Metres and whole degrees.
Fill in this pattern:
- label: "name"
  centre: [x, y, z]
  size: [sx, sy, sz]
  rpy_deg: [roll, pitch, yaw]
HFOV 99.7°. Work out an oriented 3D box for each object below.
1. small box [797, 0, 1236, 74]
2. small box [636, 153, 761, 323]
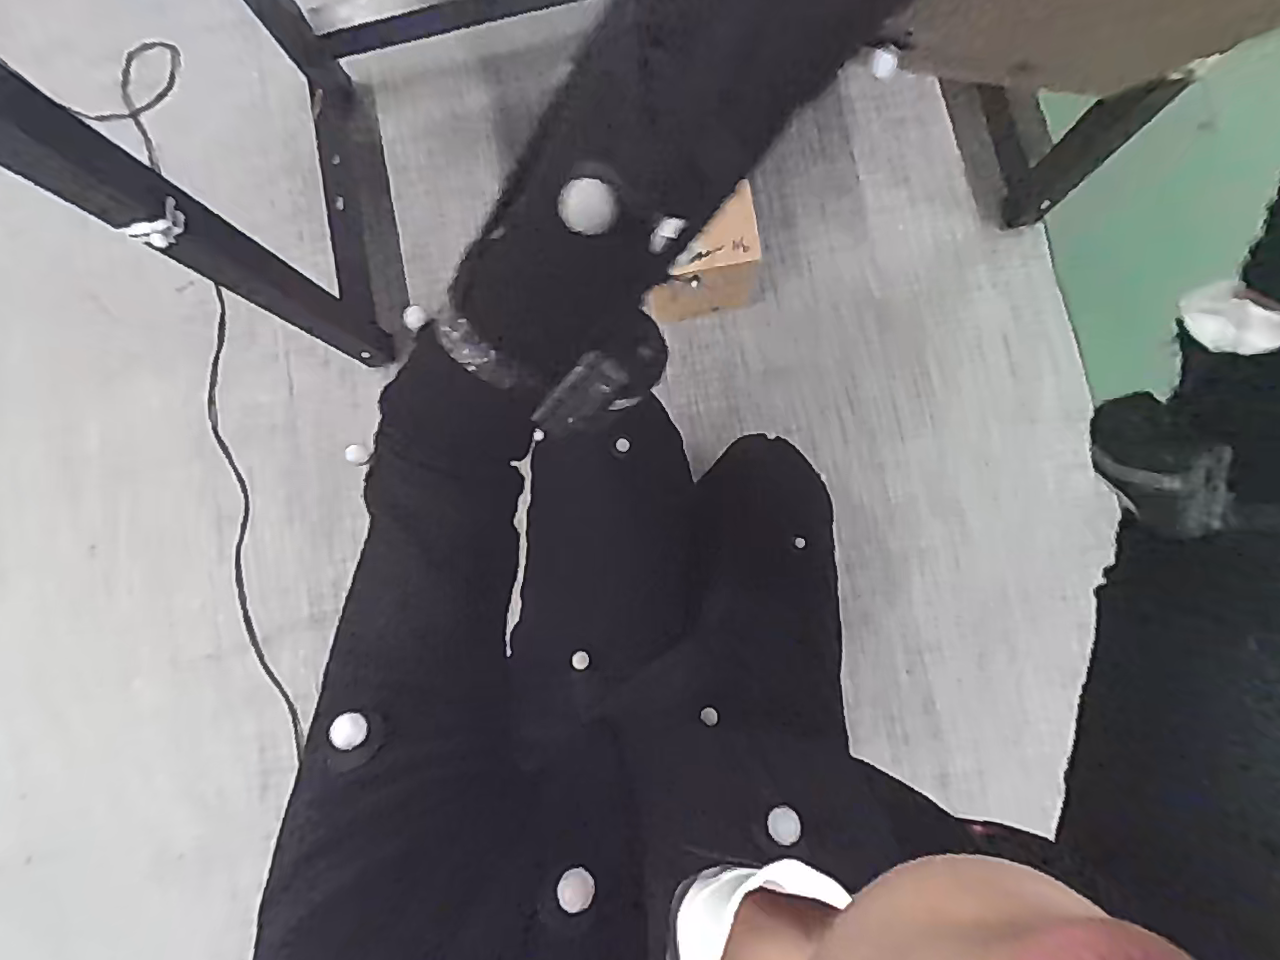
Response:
- label: "small box"
  centre: [0.154, -0.259, 0.165]
  size: [0.168, 0.176, 0.179]
  rpy_deg: [3, 109, -3]
- label: "small box"
  centre: [0.090, -0.380, 0.873]
  size: [0.168, 0.176, 0.179]
  rpy_deg: [-9, 82, 4]
